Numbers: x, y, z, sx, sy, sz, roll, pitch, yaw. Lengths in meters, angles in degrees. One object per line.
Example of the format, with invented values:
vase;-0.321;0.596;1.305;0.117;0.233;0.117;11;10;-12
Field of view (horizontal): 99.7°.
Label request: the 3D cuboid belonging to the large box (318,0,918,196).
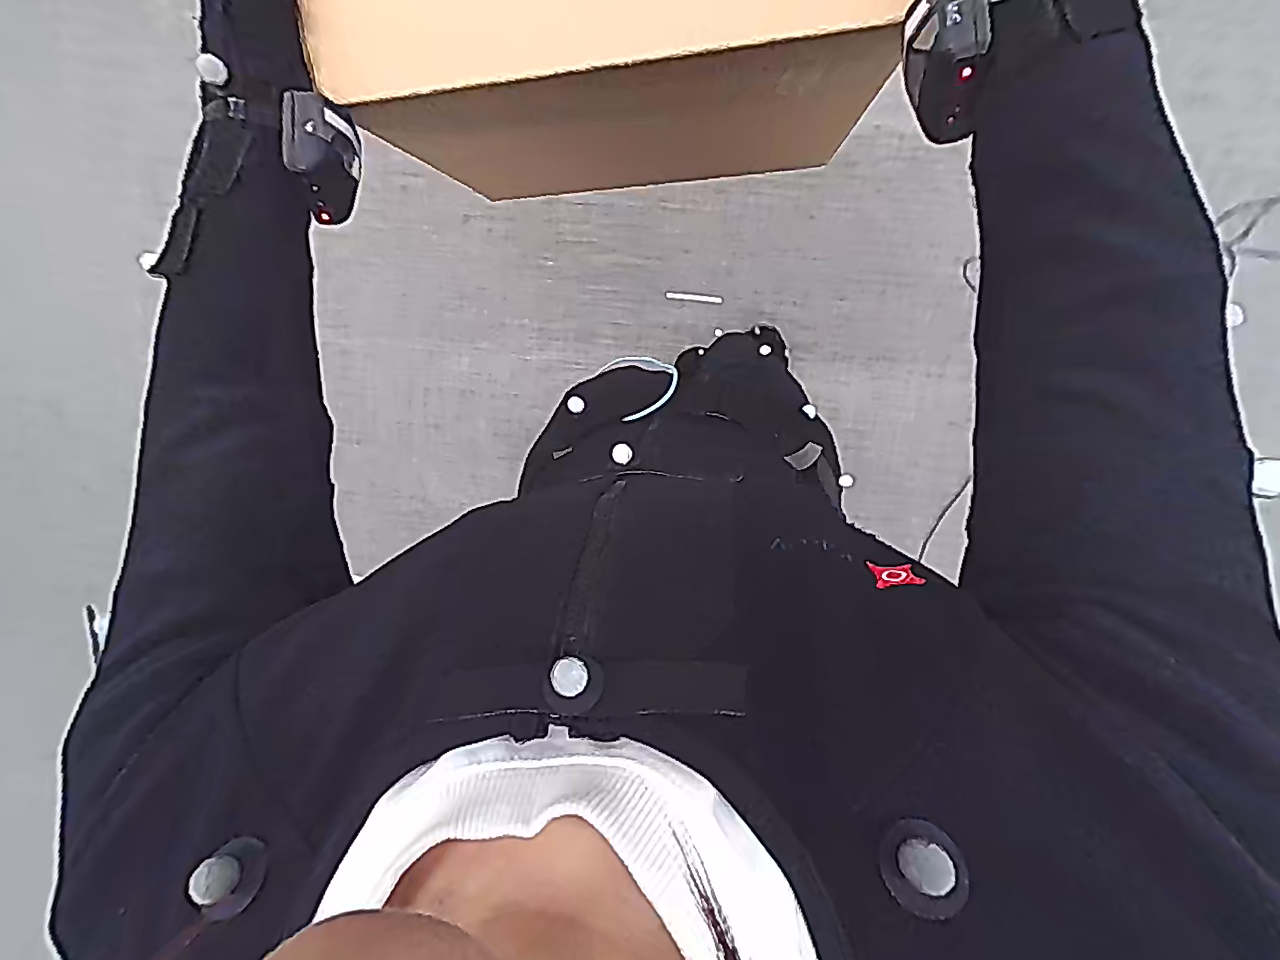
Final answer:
large box;-0.017;-0.469;0.461;0.408;0.320;0.320;-3;106;7
